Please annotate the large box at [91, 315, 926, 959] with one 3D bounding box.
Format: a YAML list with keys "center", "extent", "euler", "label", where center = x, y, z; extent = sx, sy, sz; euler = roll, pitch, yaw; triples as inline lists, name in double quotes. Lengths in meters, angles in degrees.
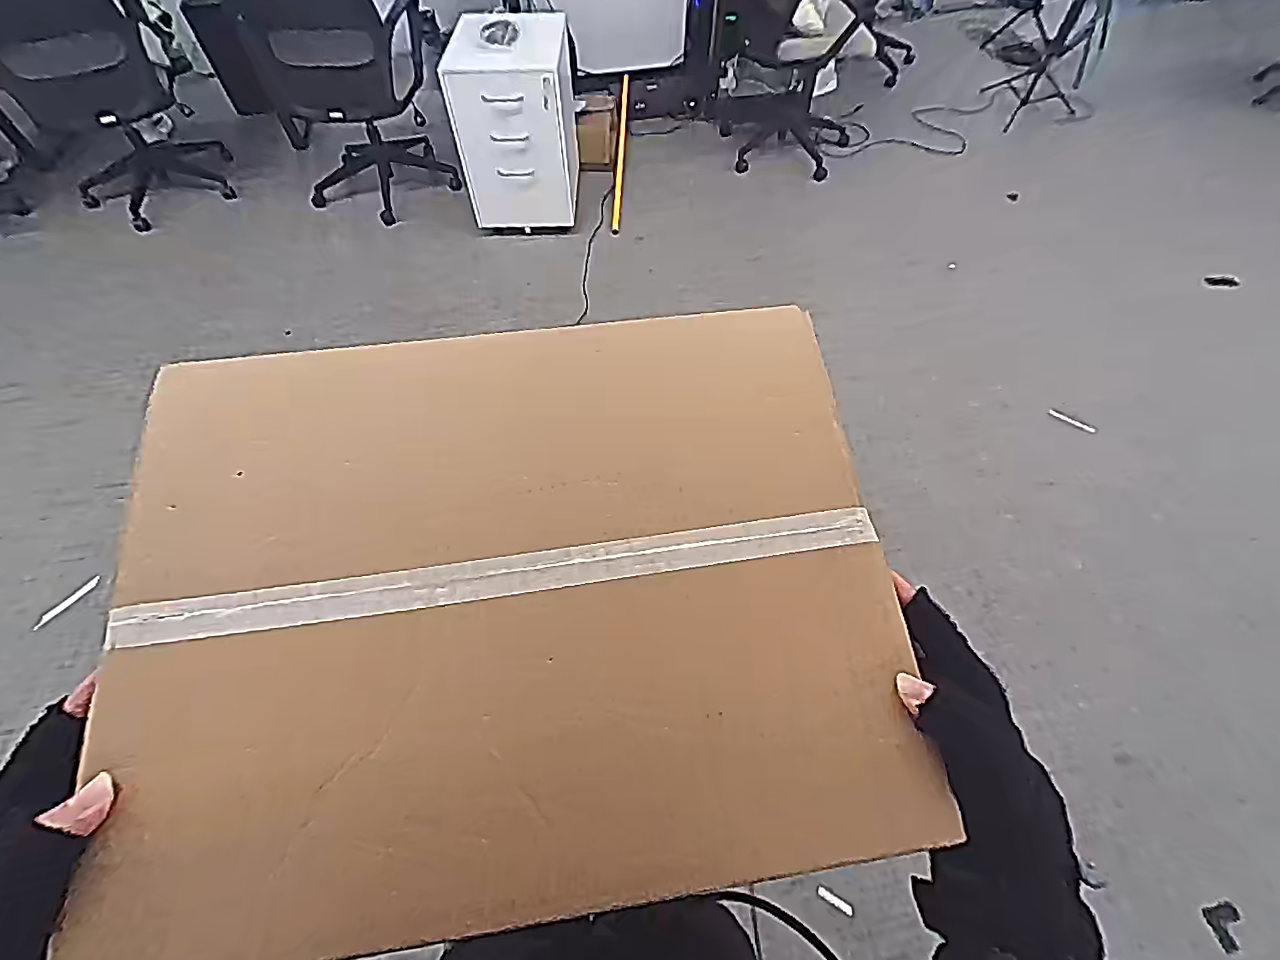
- center: [-0.075, 0.105, 0.443]
  extent: [0.408, 0.320, 0.320]
  euler: [-8, 69, -5]
  label: "large box"
